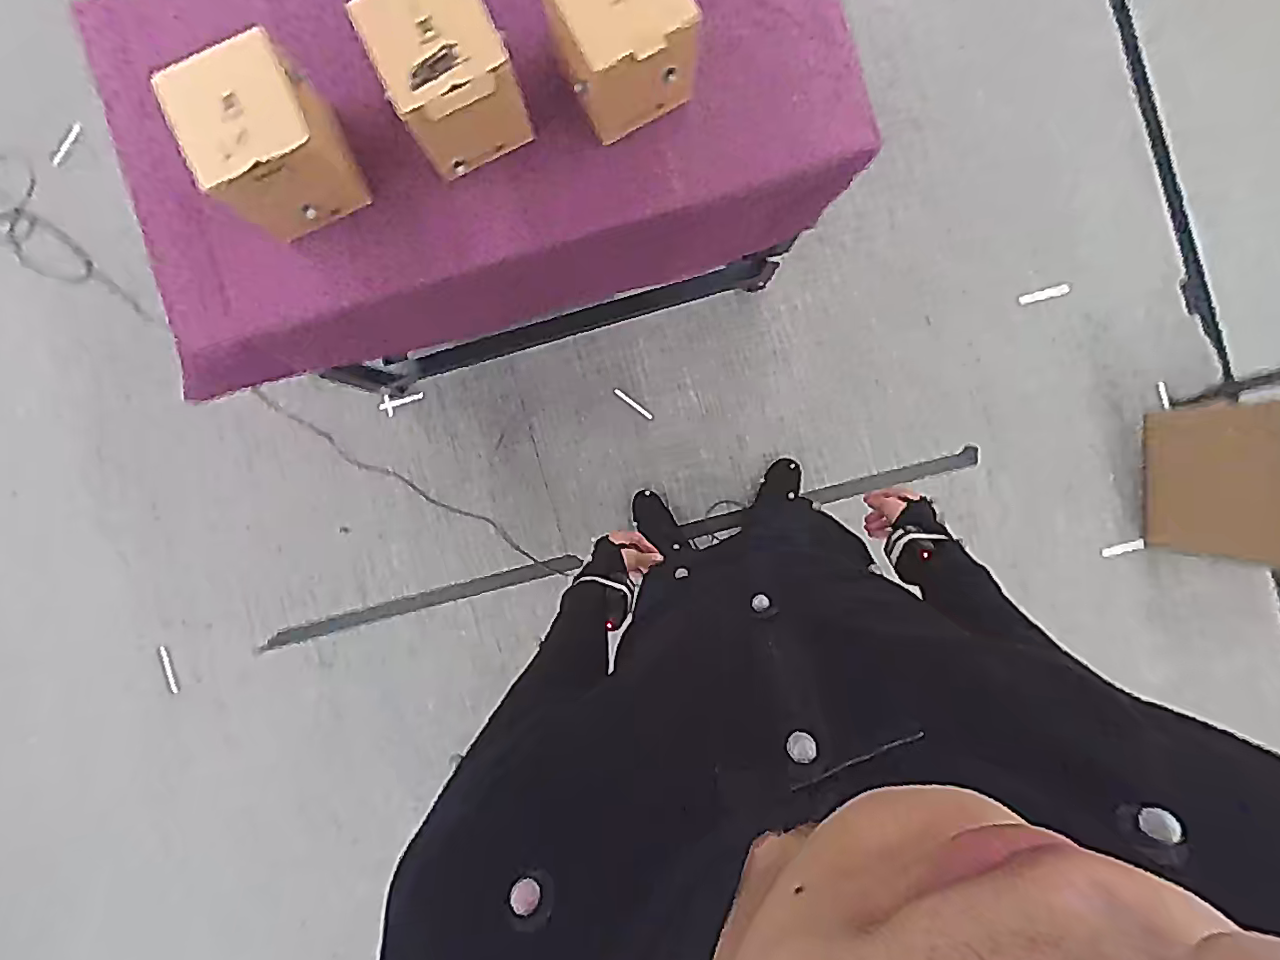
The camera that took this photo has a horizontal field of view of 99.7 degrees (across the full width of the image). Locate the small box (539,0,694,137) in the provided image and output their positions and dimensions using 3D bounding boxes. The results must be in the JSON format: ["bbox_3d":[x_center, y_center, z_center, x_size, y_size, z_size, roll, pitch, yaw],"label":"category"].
[{"bbox_3d":[-0.035,-0.661,0.813,0.168,0.176,0.179,-29,90,0],"label":"small box"}]

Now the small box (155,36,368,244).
[{"bbox_3d":[-0.553,-0.497,0.816,0.168,0.176,0.179,-25,91,1],"label":"small box"}]

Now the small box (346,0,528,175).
[{"bbox_3d":[-0.289,-0.598,0.814,0.168,0.176,0.179,-27,90,1],"label":"small box"}]
